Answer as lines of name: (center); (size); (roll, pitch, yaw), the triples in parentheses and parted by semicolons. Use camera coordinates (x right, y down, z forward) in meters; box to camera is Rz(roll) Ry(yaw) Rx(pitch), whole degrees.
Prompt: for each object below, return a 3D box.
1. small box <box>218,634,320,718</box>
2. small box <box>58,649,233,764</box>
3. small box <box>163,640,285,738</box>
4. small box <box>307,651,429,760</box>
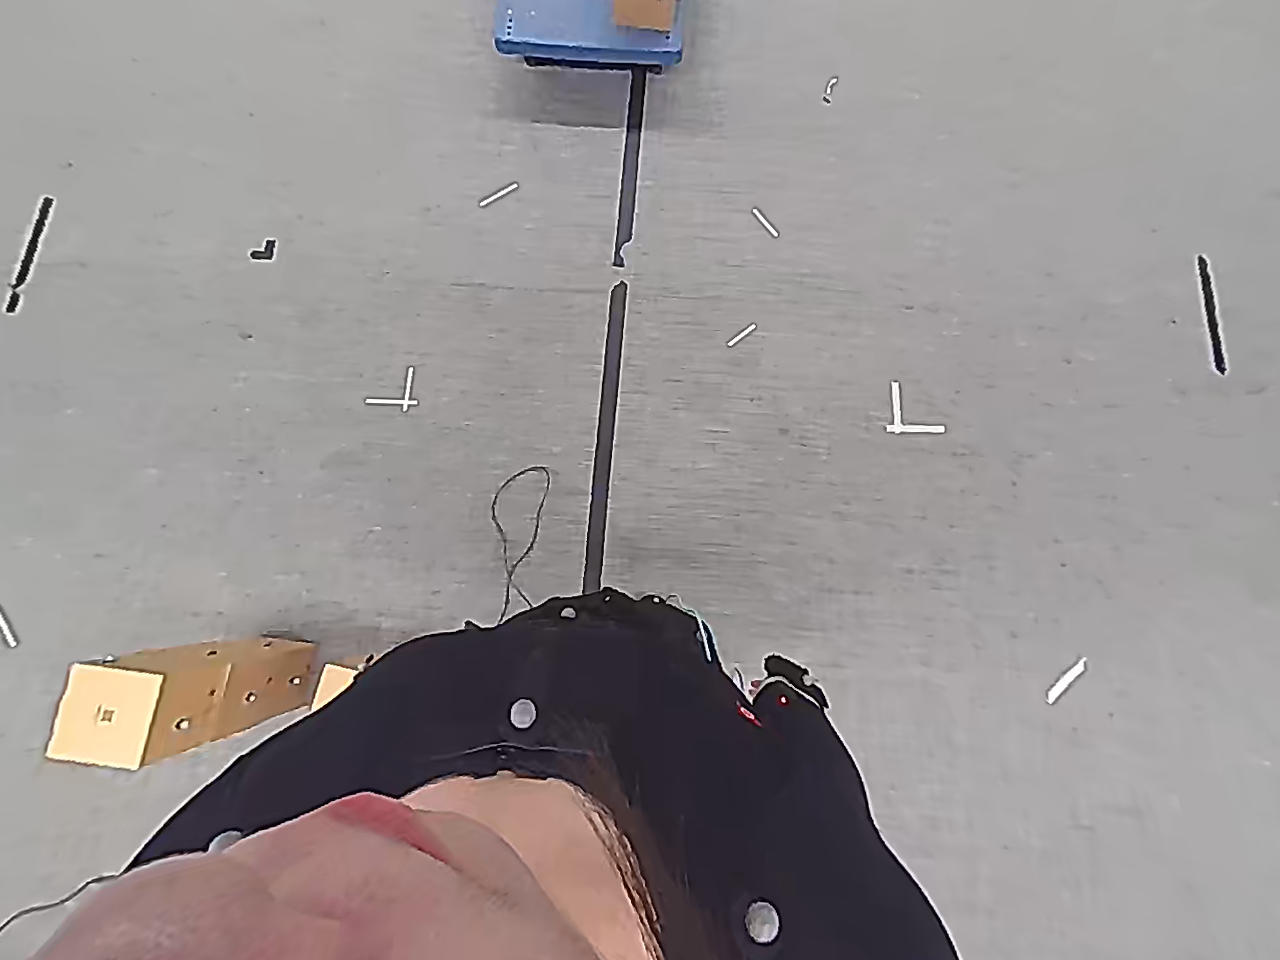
small box: (-0.968, 0.496, 1.394); (0.179, 0.176, 0.168); (7, 80, 1)
small box: (-0.961, 0.438, 1.071); (0.179, 0.176, 0.168); (7, 80, 2)
small box: (-0.958, 0.466, 1.231); (0.179, 0.176, 0.168); (9, 80, 2)
small box: (-0.604, 0.502, 1.227); (0.168, 0.176, 0.179); (12, 79, 2)
